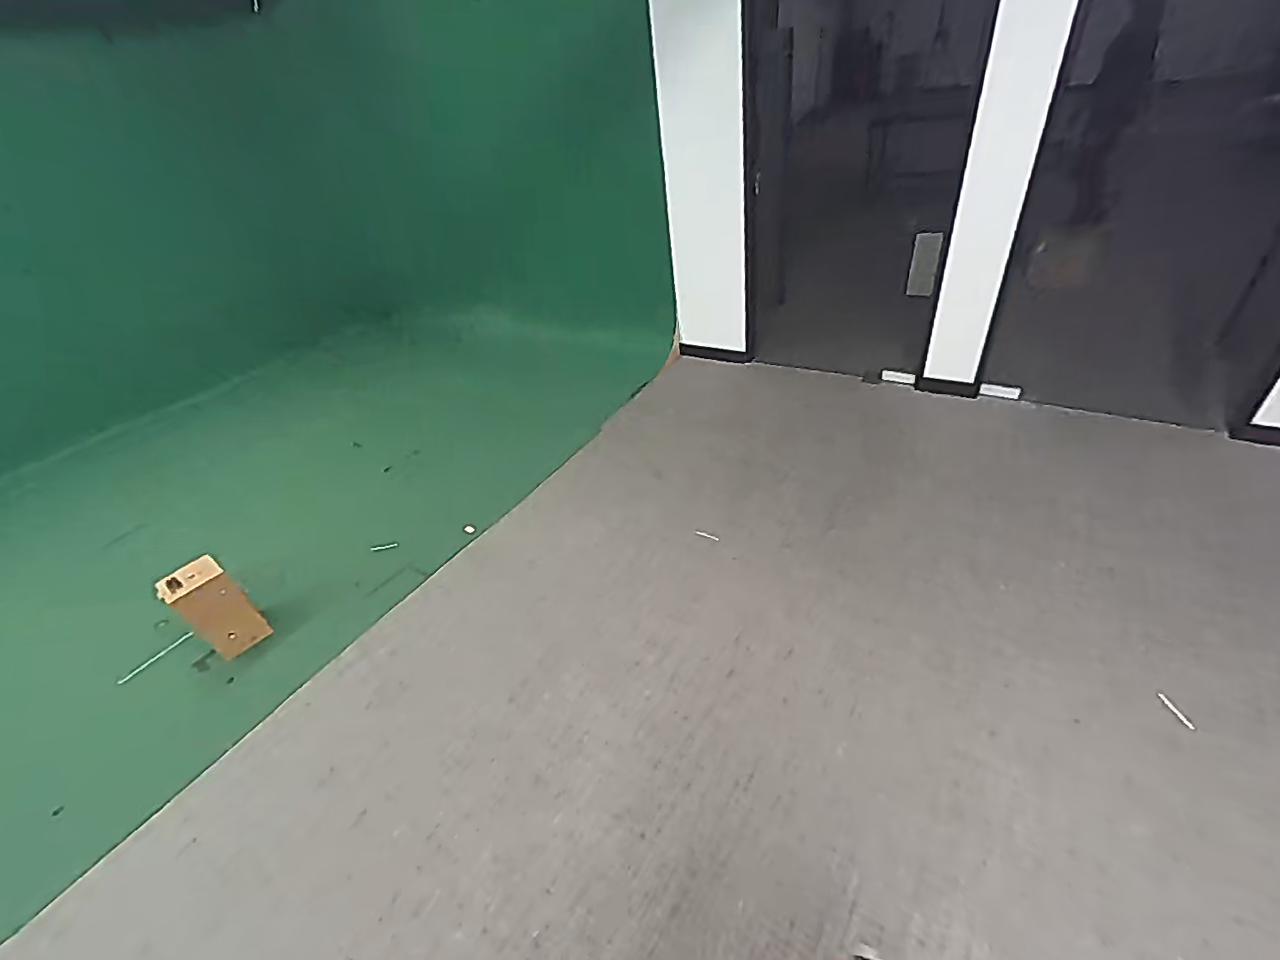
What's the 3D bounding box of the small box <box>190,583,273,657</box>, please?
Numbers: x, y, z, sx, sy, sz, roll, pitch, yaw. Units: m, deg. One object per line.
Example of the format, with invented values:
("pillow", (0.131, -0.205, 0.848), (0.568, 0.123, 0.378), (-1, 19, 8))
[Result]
("small box", (-1.505, 0.522, 1.998), (0.179, 0.176, 0.168), (24, 47, 35))
